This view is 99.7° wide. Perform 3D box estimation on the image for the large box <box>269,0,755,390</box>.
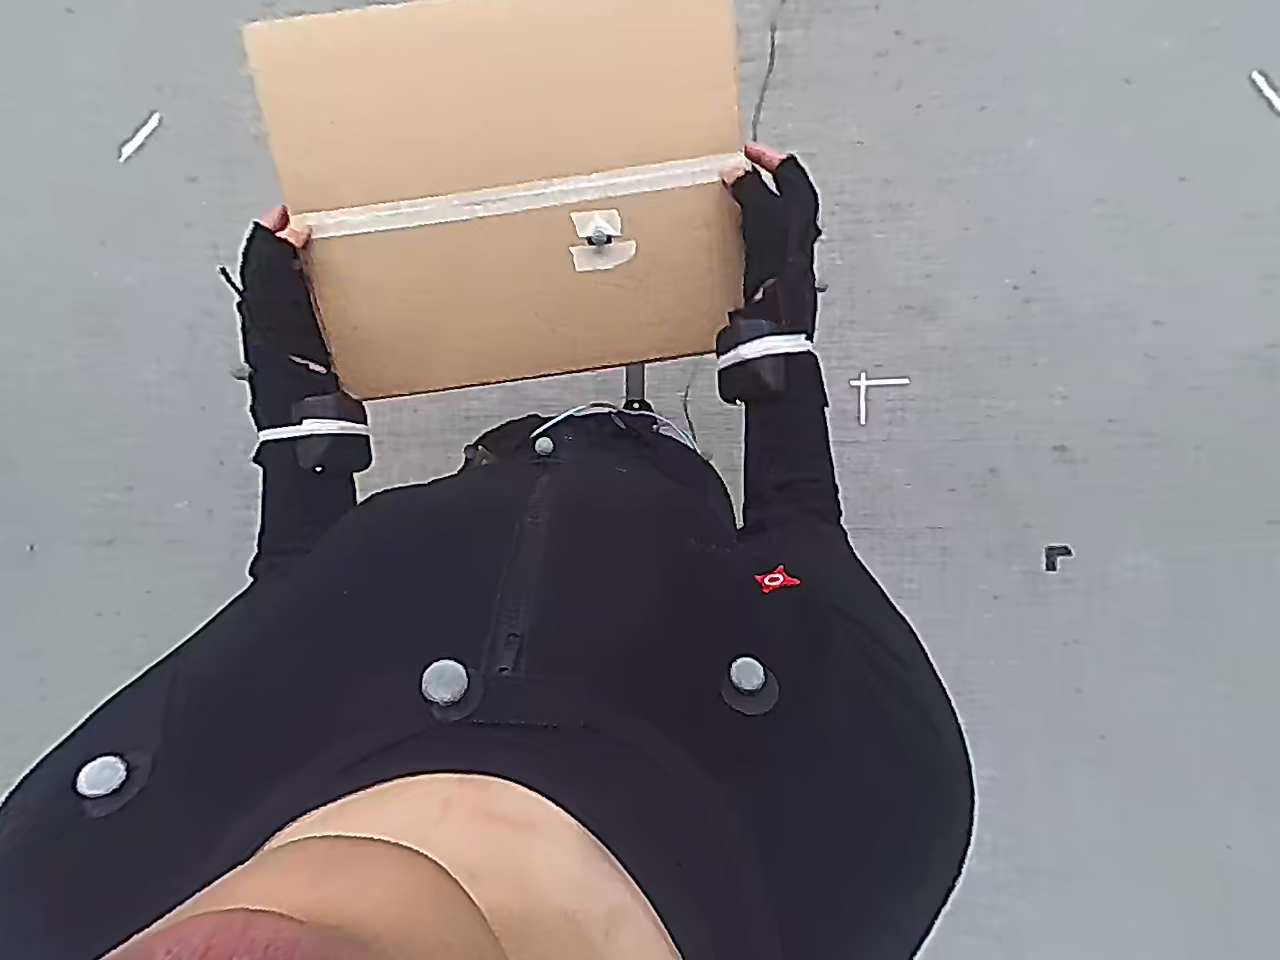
[{"bbox_3d":[-0.109,-0.299,0.640,0.408,0.320,0.320,-8,105,0],"label":"large box"}]
